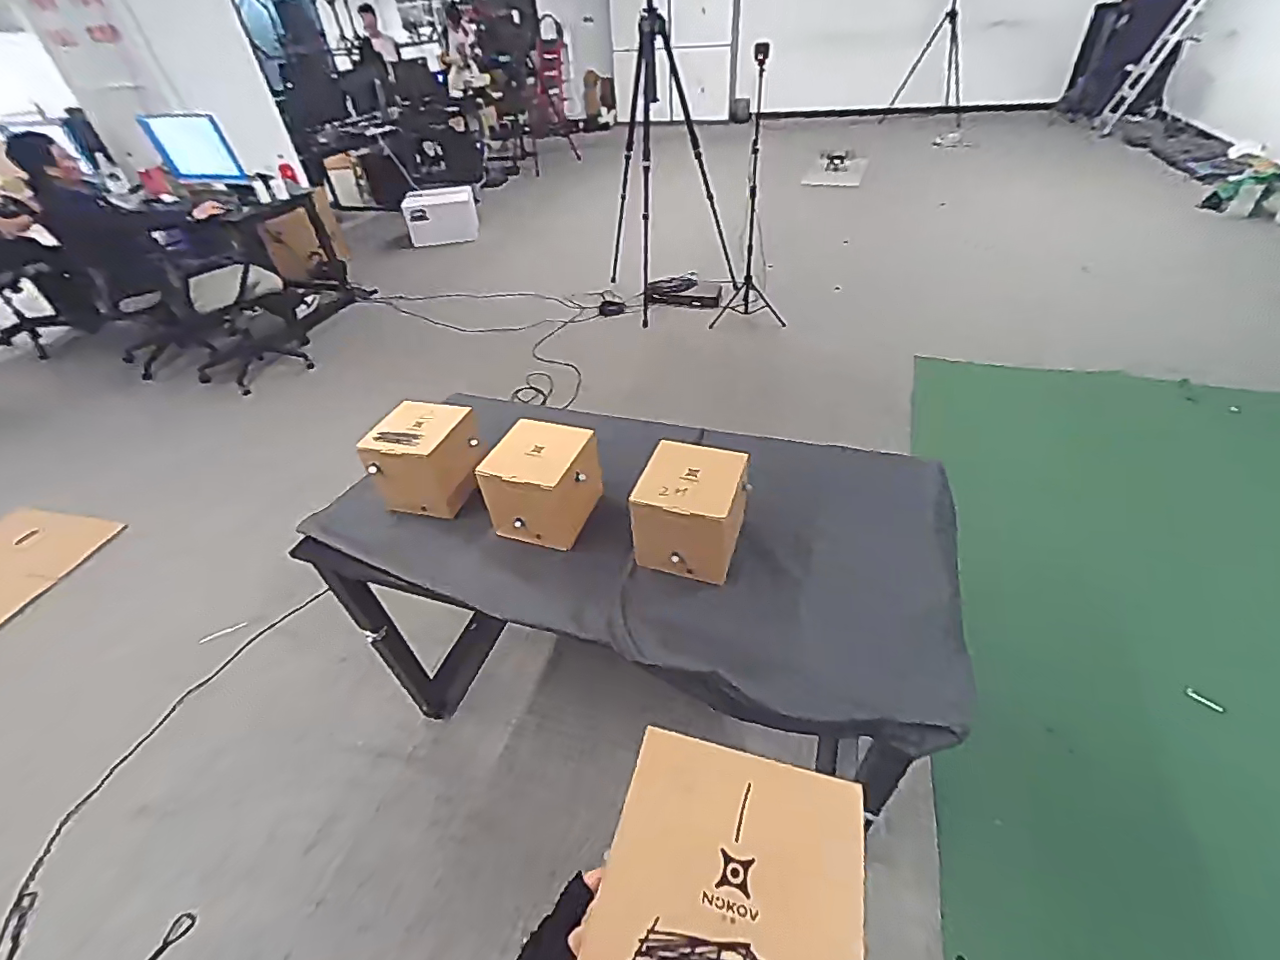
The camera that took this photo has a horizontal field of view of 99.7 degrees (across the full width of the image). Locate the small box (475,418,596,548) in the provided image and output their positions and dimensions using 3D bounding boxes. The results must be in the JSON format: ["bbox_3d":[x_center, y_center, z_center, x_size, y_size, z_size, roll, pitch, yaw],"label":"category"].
[{"bbox_3d":[-0.194,0.004,1.067,0.168,0.176,0.179,11,44,16],"label":"small box"}]

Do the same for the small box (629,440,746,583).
[{"bbox_3d":[0.088,0.055,0.982,0.168,0.176,0.179,11,44,17],"label":"small box"}]

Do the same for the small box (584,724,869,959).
[{"bbox_3d":[0.067,0.324,0.407,0.168,0.176,0.179,10,43,14],"label":"small box"}]
